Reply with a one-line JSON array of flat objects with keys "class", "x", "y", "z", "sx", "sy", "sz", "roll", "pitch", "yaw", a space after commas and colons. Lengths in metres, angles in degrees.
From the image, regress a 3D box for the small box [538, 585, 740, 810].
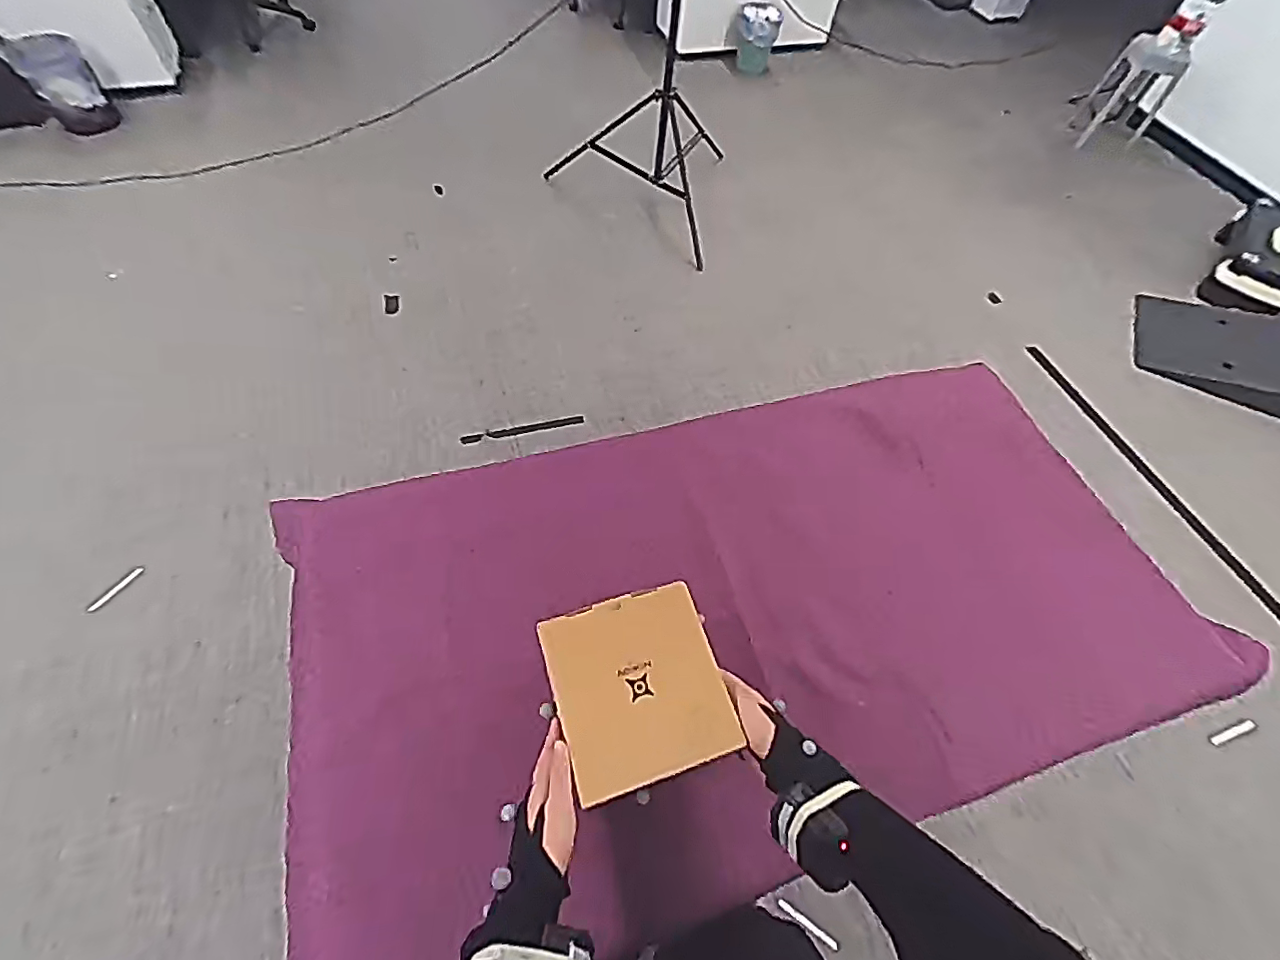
[{"class": "small box", "x": -0.009, "y": 0.245, "z": 0.608, "sx": 0.168, "sy": 0.176, "sz": 0.179, "roll": -14, "pitch": 60, "yaw": -13}]
